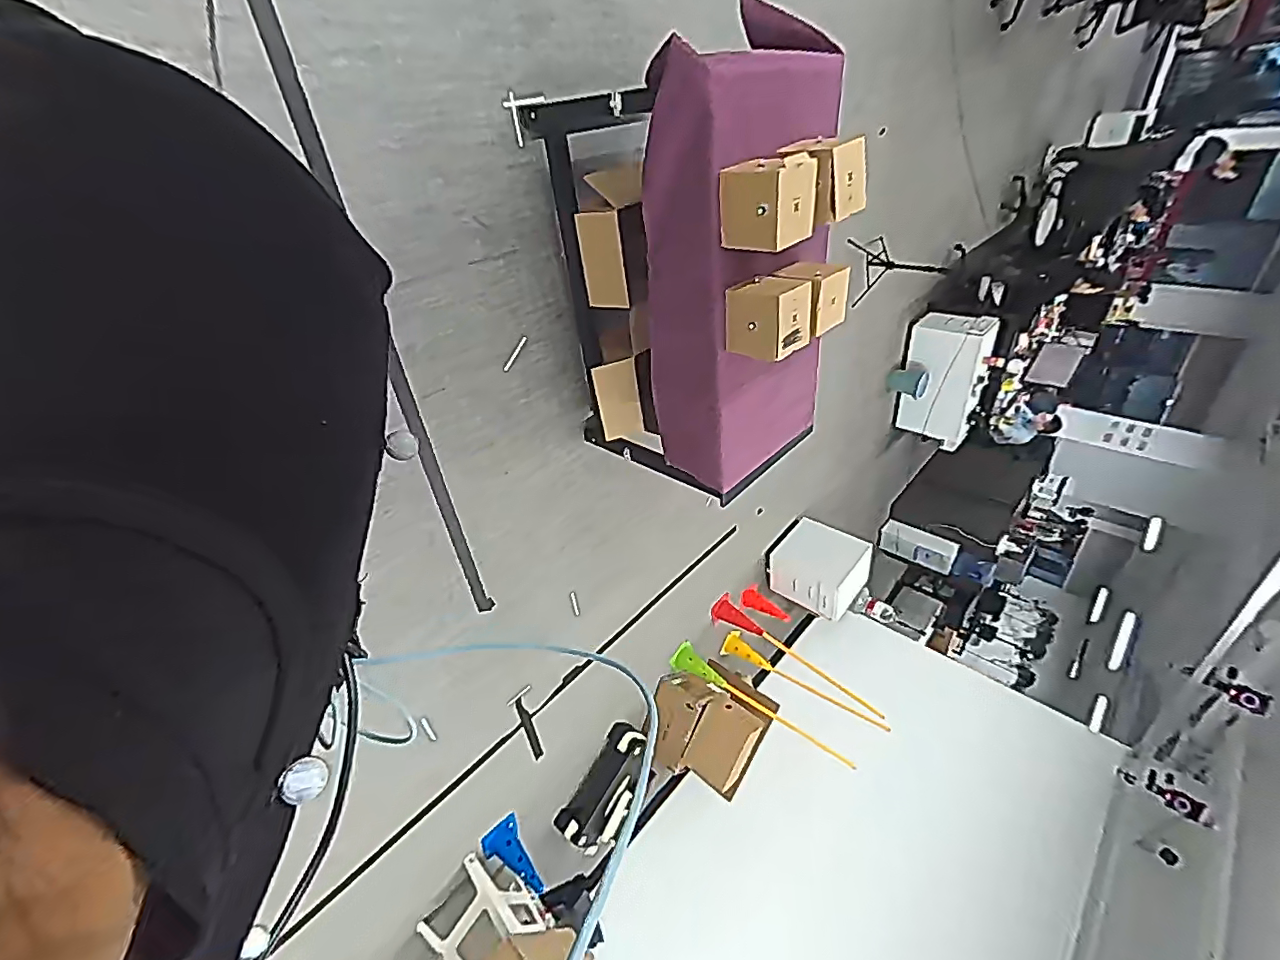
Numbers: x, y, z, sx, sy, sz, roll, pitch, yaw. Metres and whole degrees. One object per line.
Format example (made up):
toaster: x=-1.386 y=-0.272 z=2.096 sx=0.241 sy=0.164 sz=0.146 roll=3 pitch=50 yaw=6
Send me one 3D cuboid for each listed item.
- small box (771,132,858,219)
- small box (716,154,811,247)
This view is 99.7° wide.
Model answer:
small box: x=0.461 y=-0.815 z=1.451 sx=0.168 sy=0.176 sz=0.179 roll=-37 pitch=135 yaw=-31
small box: x=0.298 y=-0.686 z=1.327 sx=0.168 sy=0.176 sz=0.179 roll=-36 pitch=134 yaw=-33
